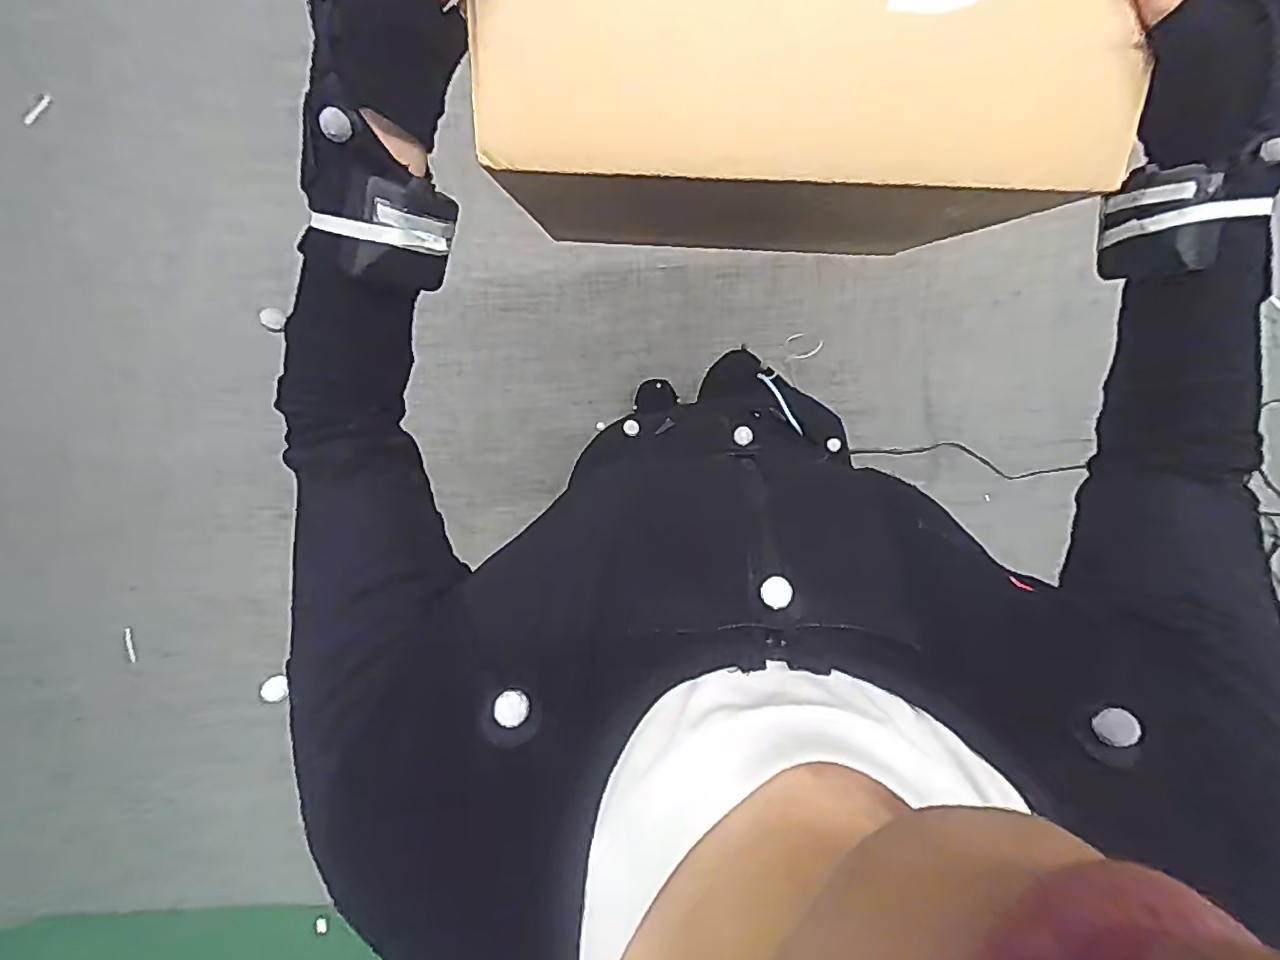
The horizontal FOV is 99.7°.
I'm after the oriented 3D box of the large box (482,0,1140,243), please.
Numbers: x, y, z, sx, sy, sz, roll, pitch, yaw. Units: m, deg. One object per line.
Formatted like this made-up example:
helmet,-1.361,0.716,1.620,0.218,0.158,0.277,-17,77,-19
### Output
large box,0.102,-0.388,0.452,0.408,0.320,0.320,2,106,0
